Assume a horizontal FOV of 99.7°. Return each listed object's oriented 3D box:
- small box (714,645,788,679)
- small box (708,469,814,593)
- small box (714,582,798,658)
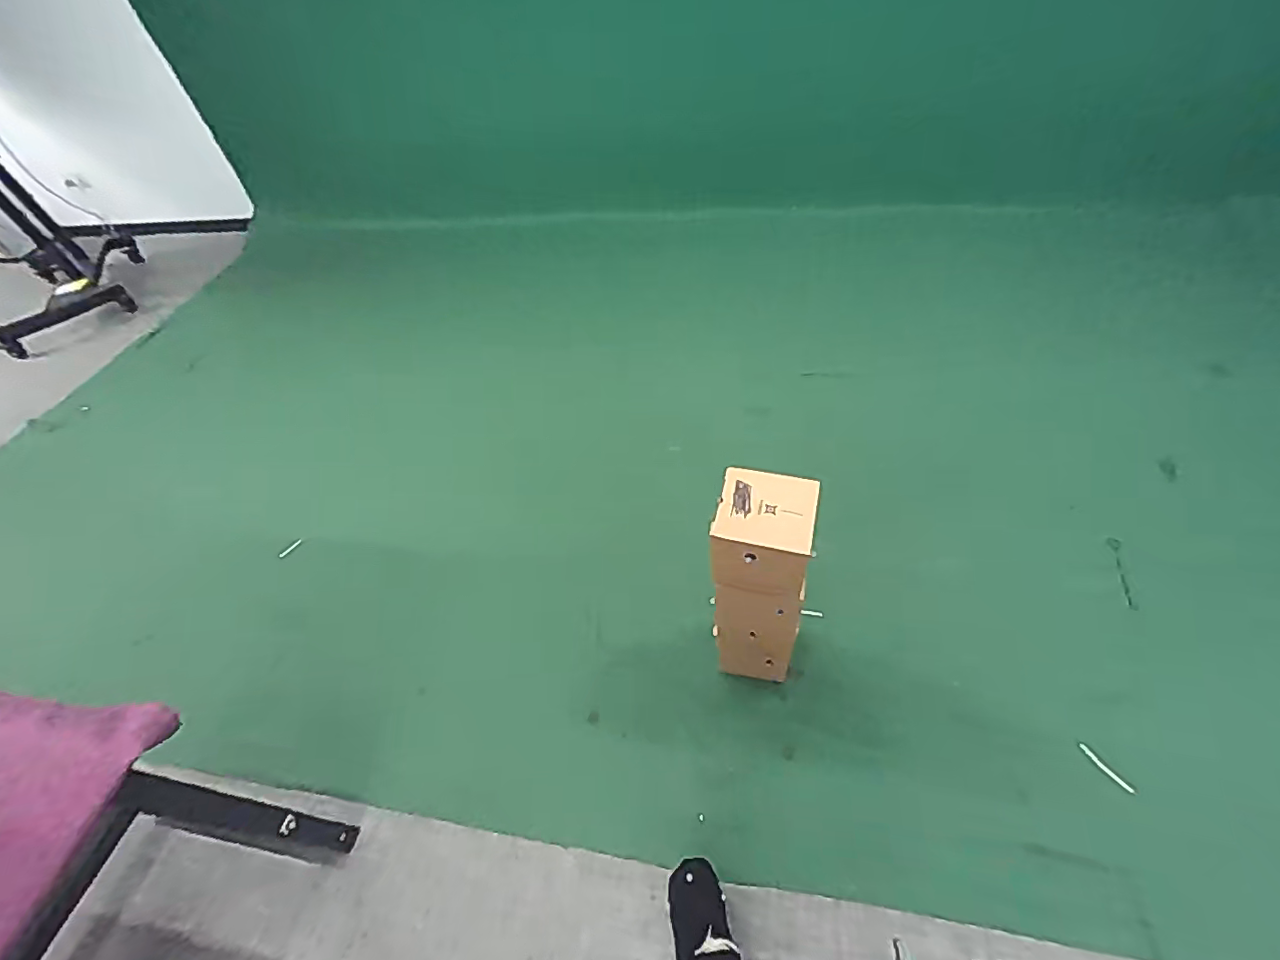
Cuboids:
[{"bbox_3d":[0.292,0.408,1.421,0.179,0.176,0.168,6,51,12],"label":"small box"},{"bbox_3d":[0.232,0.101,1.041,0.179,0.176,0.168,7,52,14],"label":"small box"},{"bbox_3d":[0.275,0.311,1.291,0.179,0.176,0.168,6,52,12],"label":"small box"}]
